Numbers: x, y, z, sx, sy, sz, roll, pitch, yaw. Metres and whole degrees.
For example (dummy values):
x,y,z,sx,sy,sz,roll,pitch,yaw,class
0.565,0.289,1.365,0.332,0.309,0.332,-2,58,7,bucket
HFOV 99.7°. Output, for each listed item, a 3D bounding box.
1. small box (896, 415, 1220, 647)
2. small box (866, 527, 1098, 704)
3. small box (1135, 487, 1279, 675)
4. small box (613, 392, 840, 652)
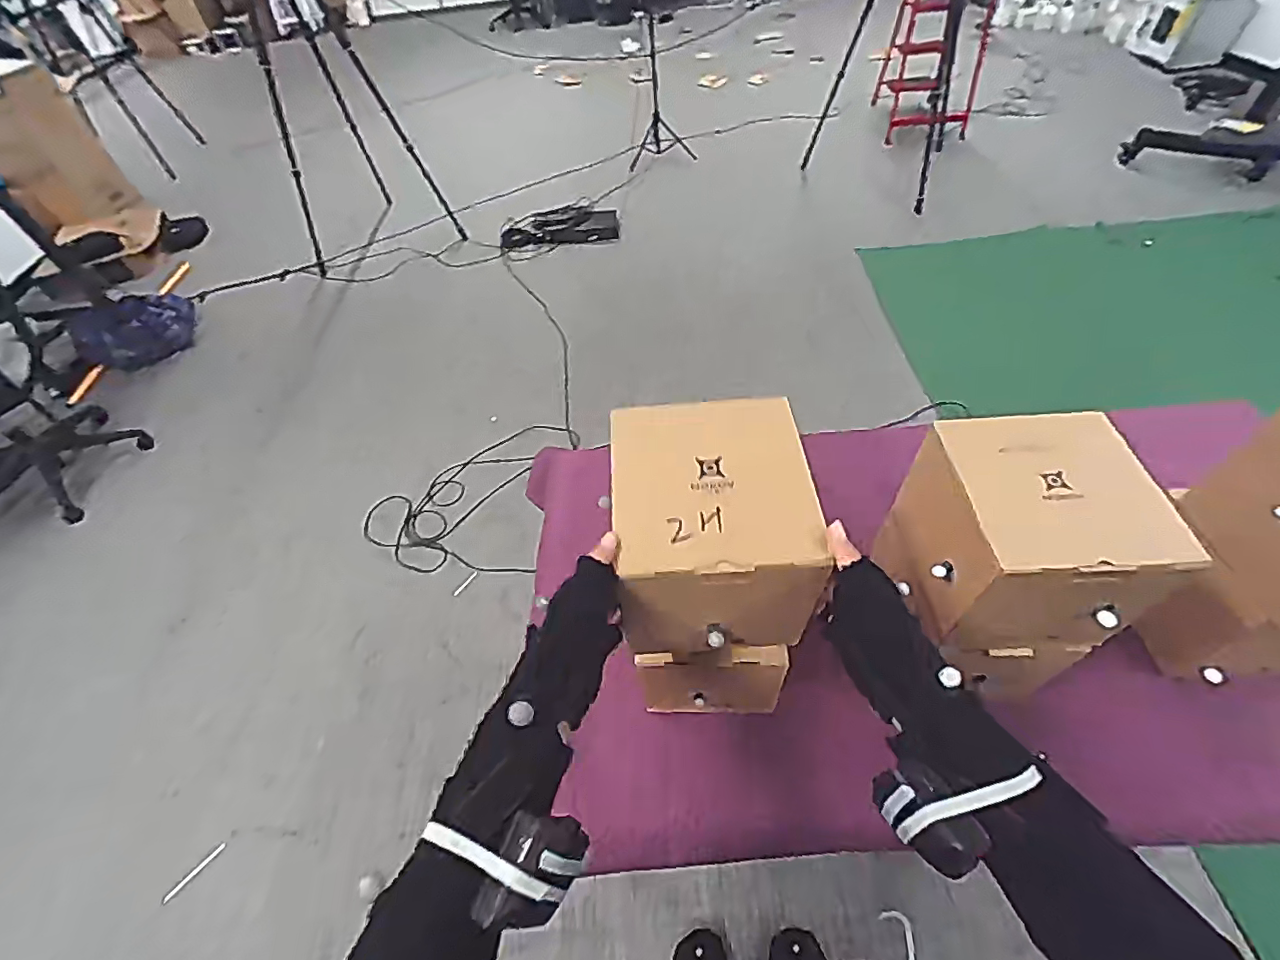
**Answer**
x,y,z,sx,sy,sz,roll,pitch,yaw,class
0.381,0.058,0.541,0.168,0.176,0.179,-3,51,4,small box
0.397,0.167,0.668,0.168,0.176,0.179,-7,51,6,small box
0.729,0.126,0.653,0.168,0.176,0.179,0,52,4,small box
0.063,0.042,0.500,0.168,0.176,0.179,-4,53,1,small box
